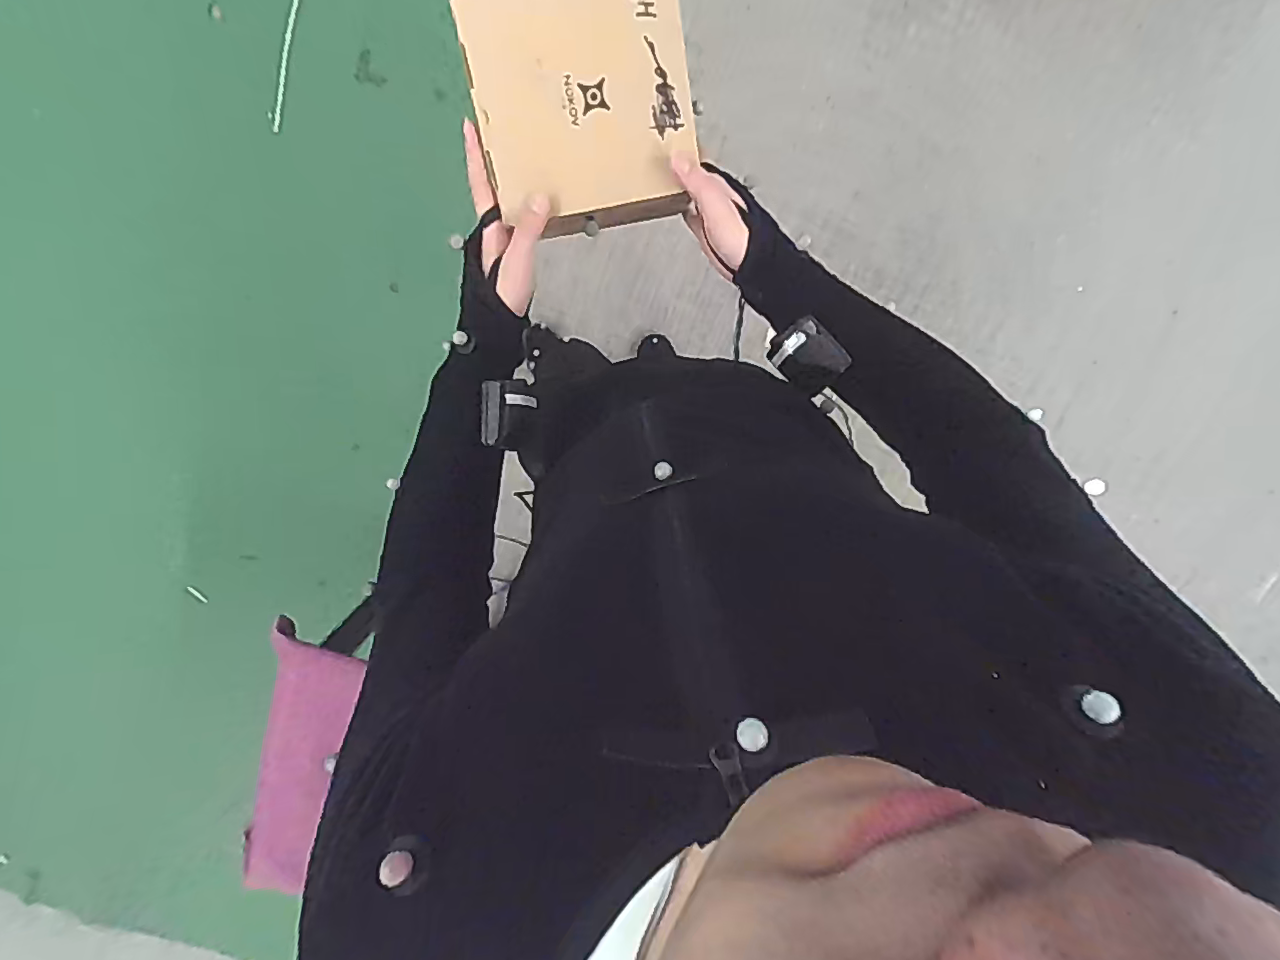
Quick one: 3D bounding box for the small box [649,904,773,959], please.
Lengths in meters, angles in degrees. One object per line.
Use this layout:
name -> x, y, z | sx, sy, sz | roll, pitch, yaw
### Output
small box -> 0.113, 0.840, 0.878 | 0.179, 0.176, 0.168 | 16, 106, -4

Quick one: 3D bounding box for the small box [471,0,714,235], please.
small box -> -0.035, -0.337, 0.508 | 0.179, 0.176, 0.168 | -9, 109, 1
